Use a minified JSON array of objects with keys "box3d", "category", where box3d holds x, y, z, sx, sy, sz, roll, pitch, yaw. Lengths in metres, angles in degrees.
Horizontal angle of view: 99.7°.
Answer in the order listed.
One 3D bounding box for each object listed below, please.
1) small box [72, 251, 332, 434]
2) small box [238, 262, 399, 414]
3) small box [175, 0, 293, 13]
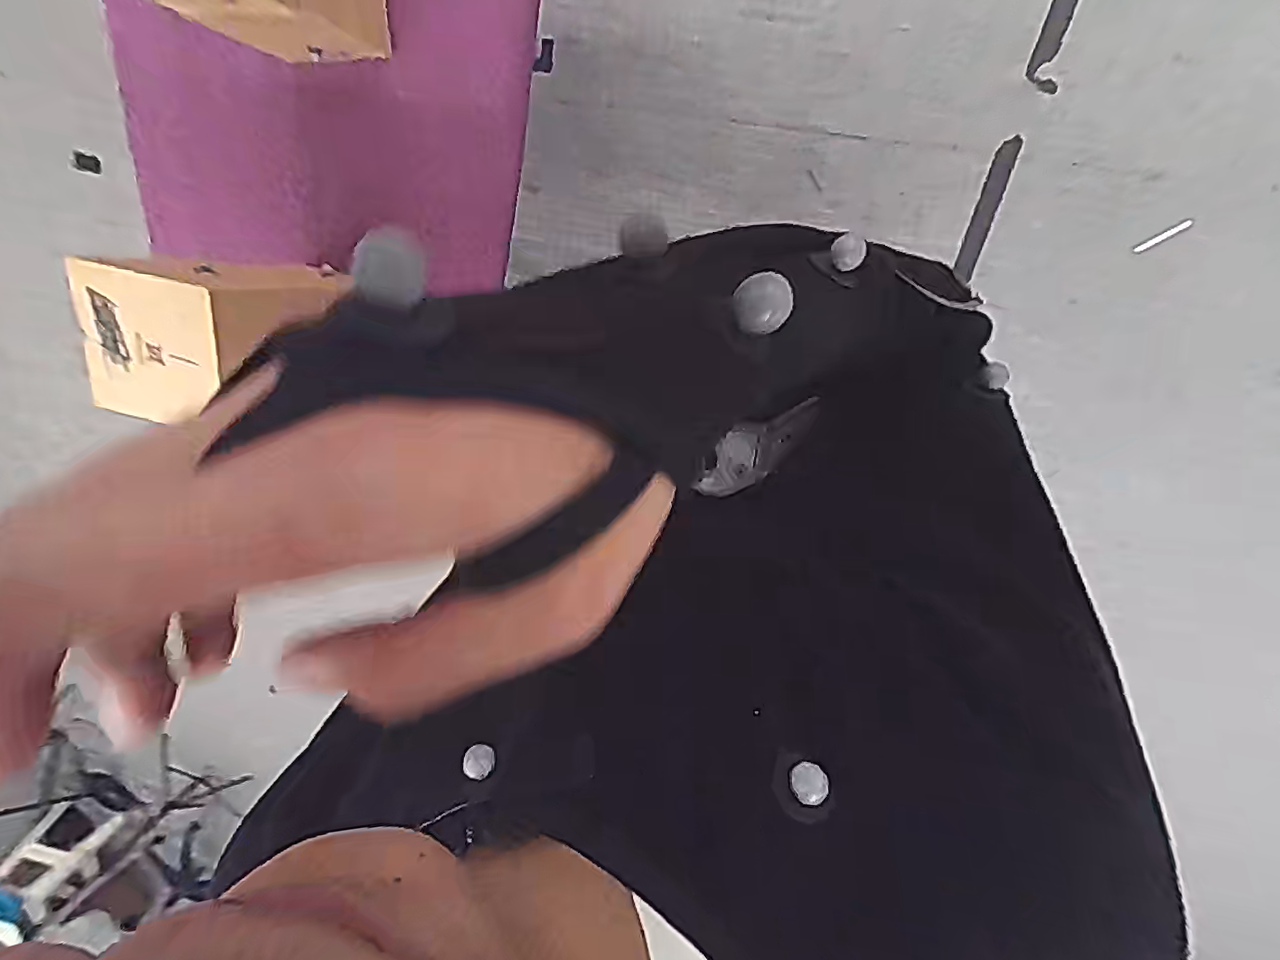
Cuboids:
[{"box3d":[-0.512,-0.172,0.660,0.179,0.176,0.168,14,113,6],"category":"small box"},{"box3d":[-0.487,-0.220,0.816,0.168,0.176,0.179,15,113,6],"category":"small box"},{"box3d":[-0.454,-0.567,0.494,0.168,0.176,0.179,10,113,8],"category":"small box"}]
